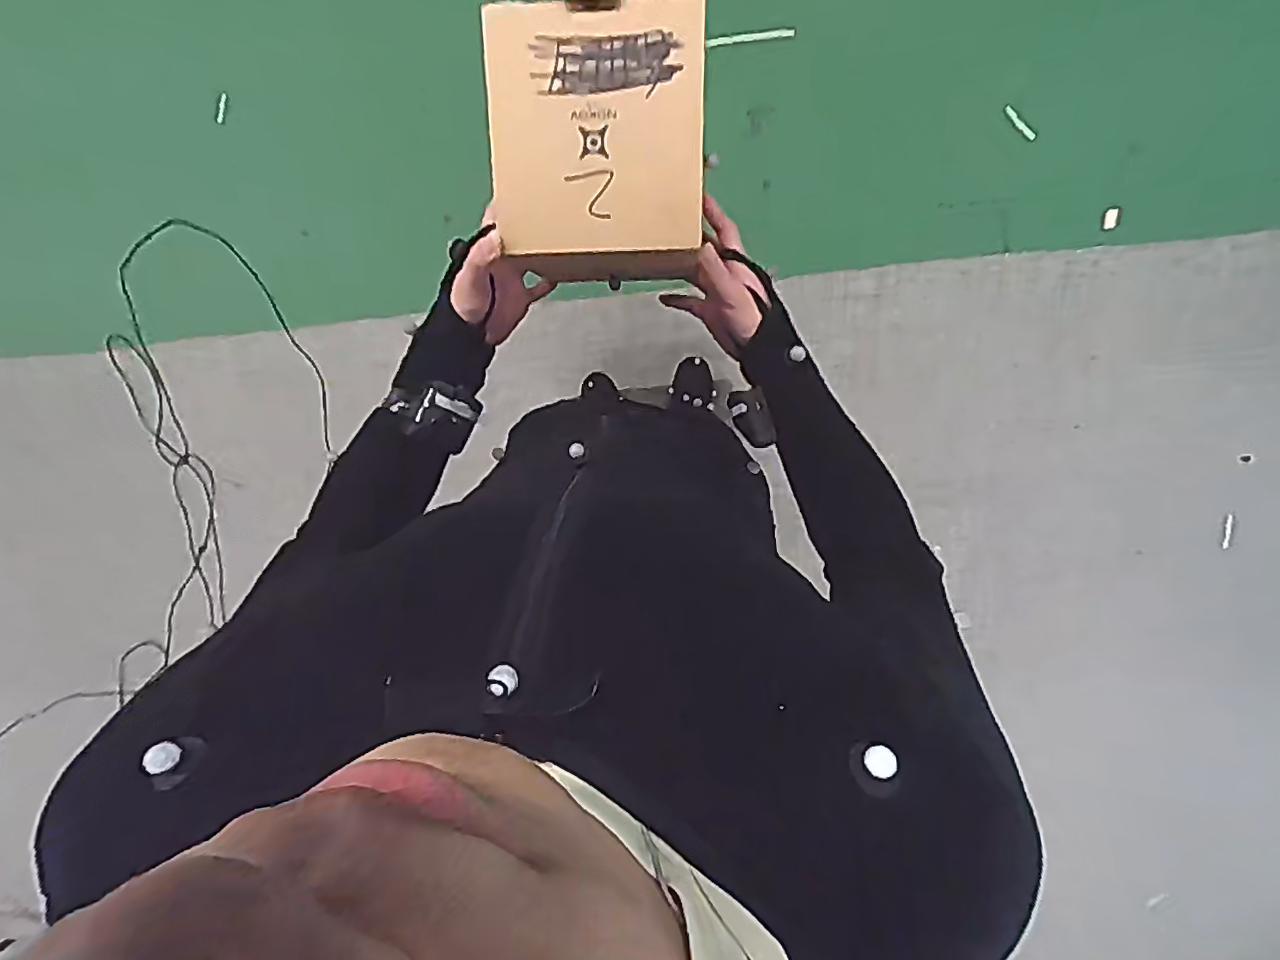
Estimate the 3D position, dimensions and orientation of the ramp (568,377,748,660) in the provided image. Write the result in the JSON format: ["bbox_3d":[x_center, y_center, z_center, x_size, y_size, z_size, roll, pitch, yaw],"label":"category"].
[{"bbox_3d":[0.088,0.182,1.765,0.509,0.206,0.991,-6,103,7],"label":"ramp"}]
